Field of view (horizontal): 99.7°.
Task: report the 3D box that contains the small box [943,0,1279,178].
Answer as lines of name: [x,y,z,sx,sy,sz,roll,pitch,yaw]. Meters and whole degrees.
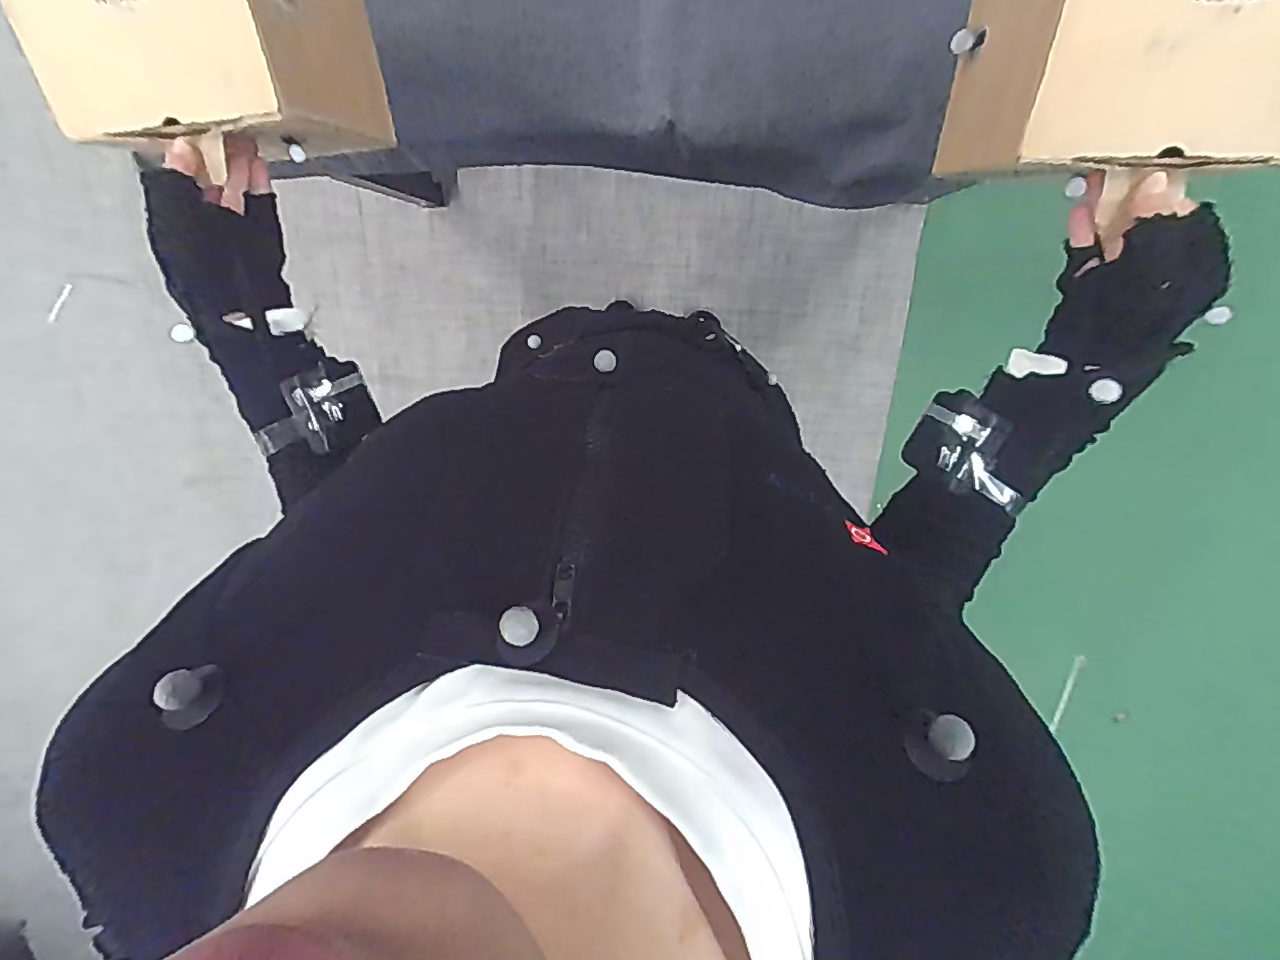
small box: [0.322,-0.297,0.349,0.168,0.176,0.179,5,118,7]

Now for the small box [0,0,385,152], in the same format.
small box: [-0.319,-0.353,0.399,0.168,0.176,0.179,-3,115,5]
